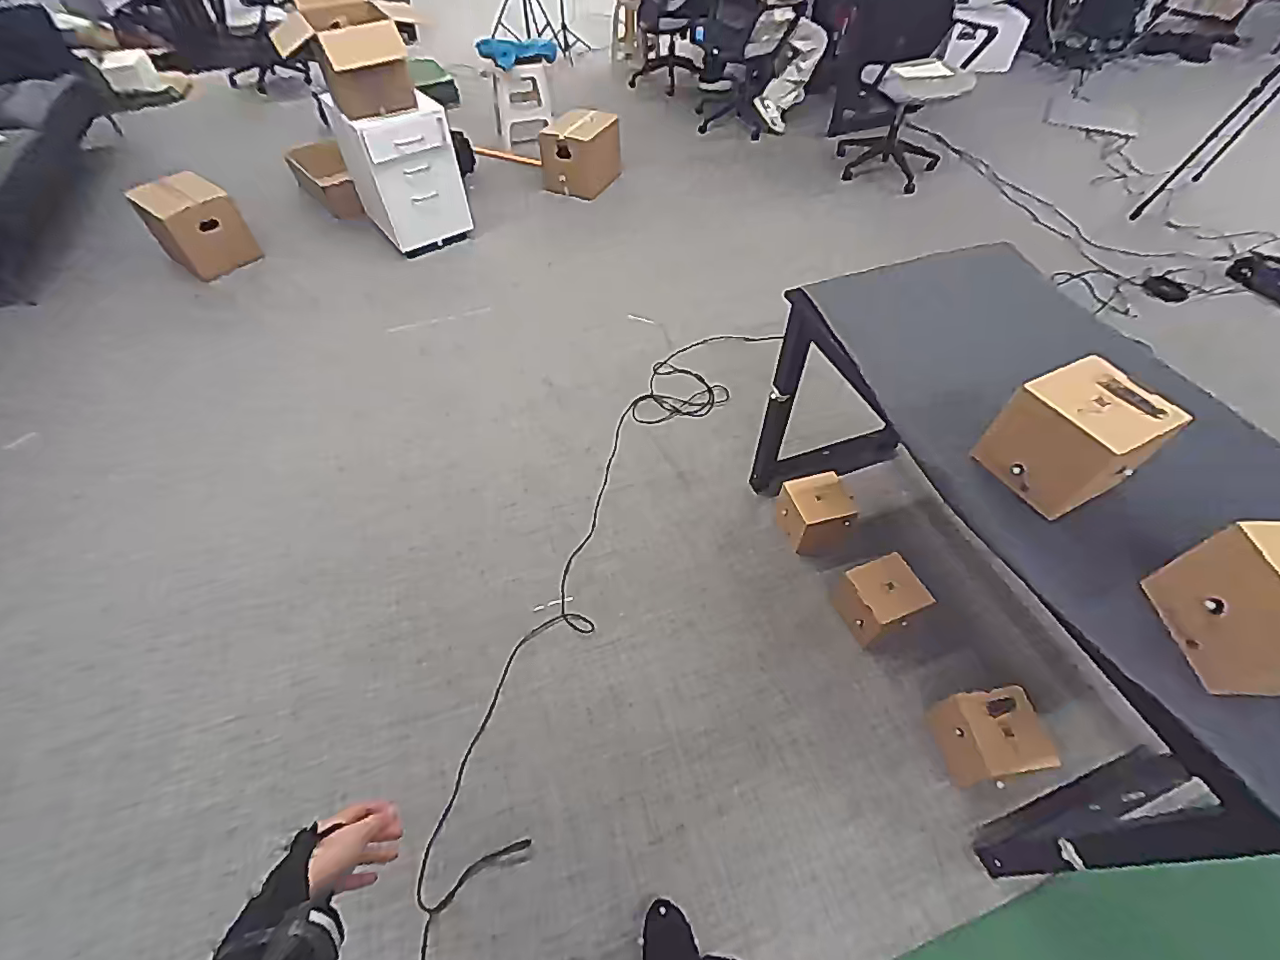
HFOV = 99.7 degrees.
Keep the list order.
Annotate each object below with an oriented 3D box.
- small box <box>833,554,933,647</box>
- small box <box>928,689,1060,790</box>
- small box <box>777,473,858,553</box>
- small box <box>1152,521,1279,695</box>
[{"bbox_3d":[0.658,0.338,1.496,0.179,0.176,0.168,-17,54,-14],"label":"small box"},{"bbox_3d":[0.820,0.613,1.276,0.168,0.176,0.179,-6,53,-4],"label":"small box"},{"bbox_3d":[0.539,0.107,1.682,0.179,0.176,0.168,-12,52,-10],"label":"small box"},{"bbox_3d":[0.827,0.169,0.694,0.179,0.176,0.168,2,52,-1],"label":"small box"}]
